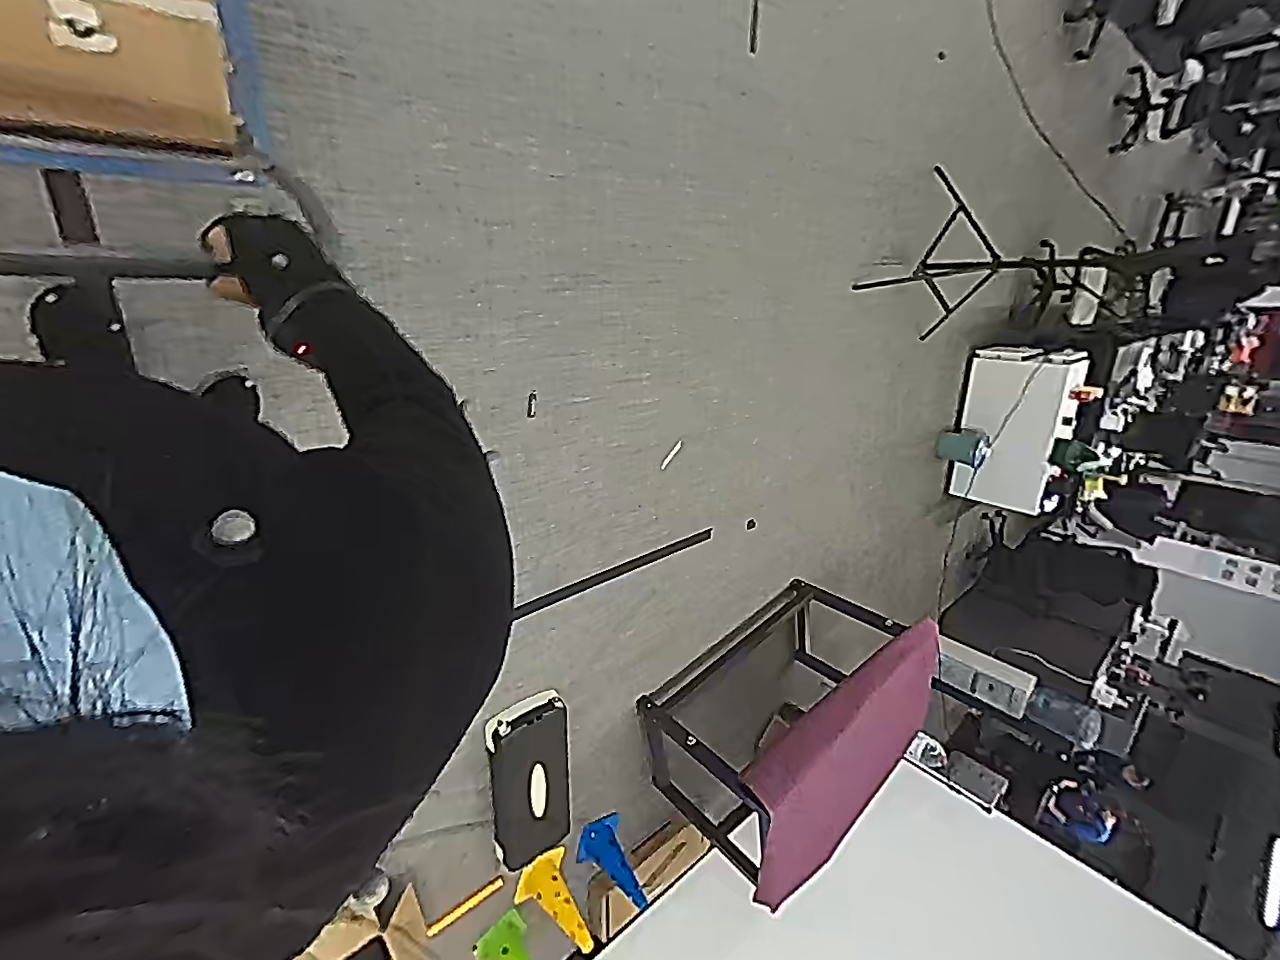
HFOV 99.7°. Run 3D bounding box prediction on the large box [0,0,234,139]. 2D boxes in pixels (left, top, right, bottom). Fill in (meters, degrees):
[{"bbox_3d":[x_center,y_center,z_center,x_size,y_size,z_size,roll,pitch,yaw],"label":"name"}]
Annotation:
[{"bbox_3d":[-0.815,-0.648,0.686,0.408,0.320,0.320,-16,128,-38],"label":"large box"}]
